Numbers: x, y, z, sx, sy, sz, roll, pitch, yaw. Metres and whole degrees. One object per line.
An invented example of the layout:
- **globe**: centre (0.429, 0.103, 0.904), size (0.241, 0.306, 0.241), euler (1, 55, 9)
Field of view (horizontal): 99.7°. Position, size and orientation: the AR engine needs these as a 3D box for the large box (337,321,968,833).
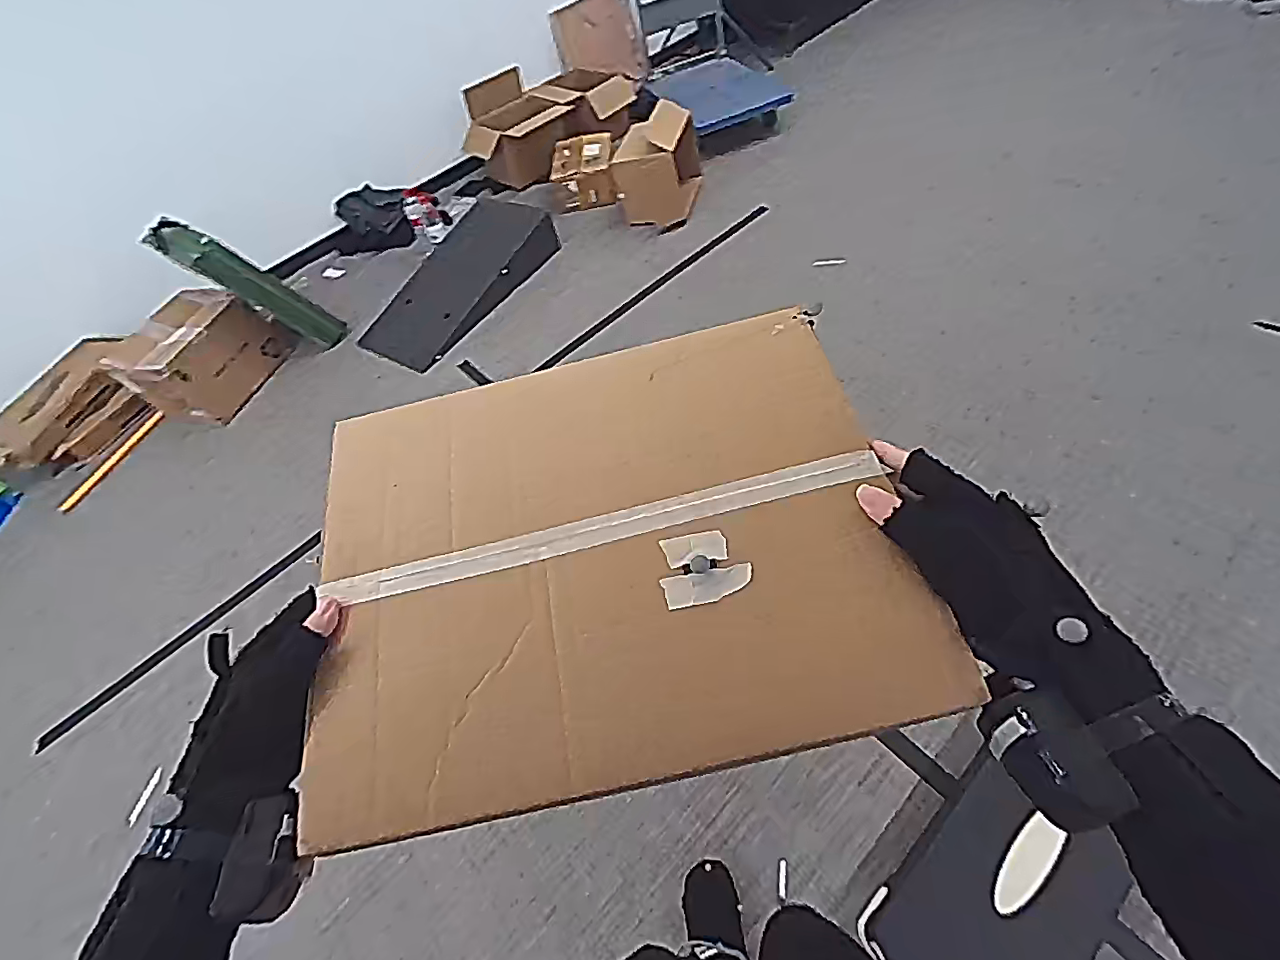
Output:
- **large box**: centre (-0.005, 0.108, 0.527), size (0.408, 0.320, 0.320), euler (-13, 62, 1)
